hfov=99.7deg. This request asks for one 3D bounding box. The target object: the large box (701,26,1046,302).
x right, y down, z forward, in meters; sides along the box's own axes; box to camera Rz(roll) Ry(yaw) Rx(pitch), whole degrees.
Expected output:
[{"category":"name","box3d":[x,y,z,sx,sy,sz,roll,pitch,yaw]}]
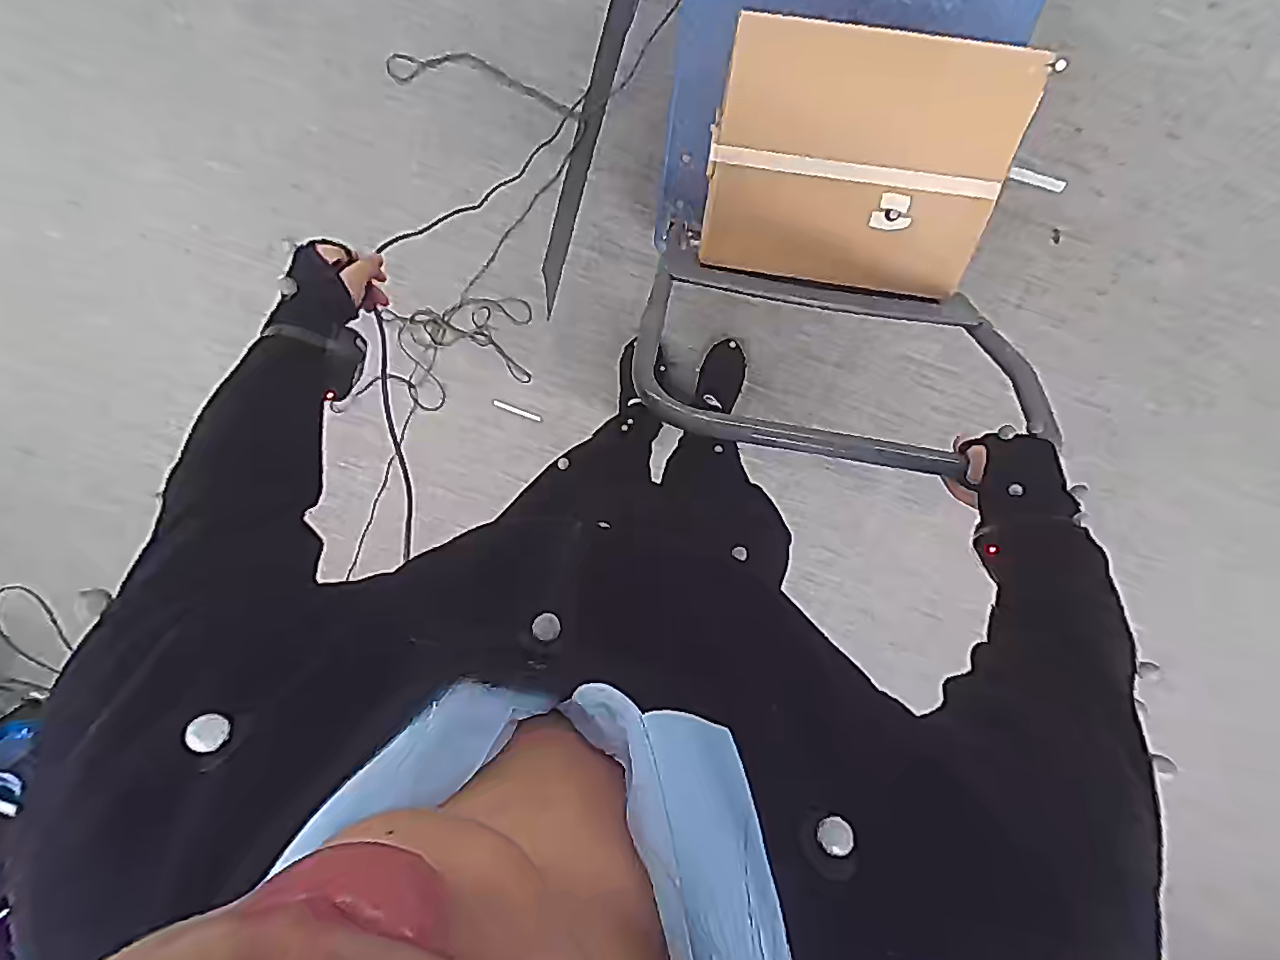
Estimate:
[{"category":"large box","box3d":[0.320,-0.514,0.897,0.408,0.320,0.320,9,125,1]}]
